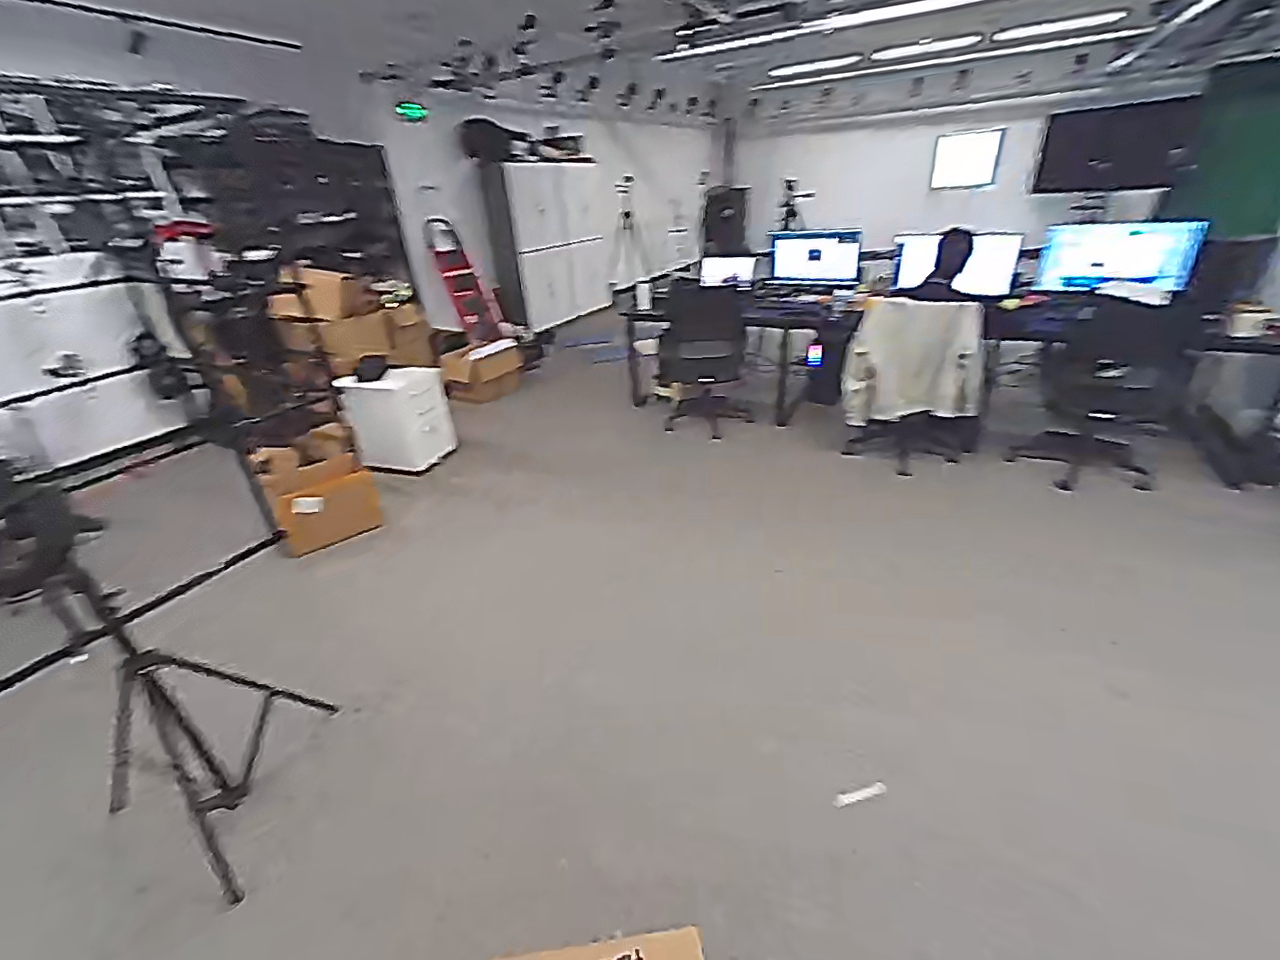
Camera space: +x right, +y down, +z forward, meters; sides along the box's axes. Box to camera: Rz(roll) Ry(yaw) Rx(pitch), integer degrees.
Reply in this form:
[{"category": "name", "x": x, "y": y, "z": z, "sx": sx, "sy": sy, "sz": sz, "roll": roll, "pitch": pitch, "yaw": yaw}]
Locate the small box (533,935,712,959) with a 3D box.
[{"category": "small box", "x": -0.017, "y": 0.465, "z": 0.373, "sx": 0.168, "sy": 0.176, "sz": 0.179, "roll": -5, "pitch": 30, "yaw": -4}]
